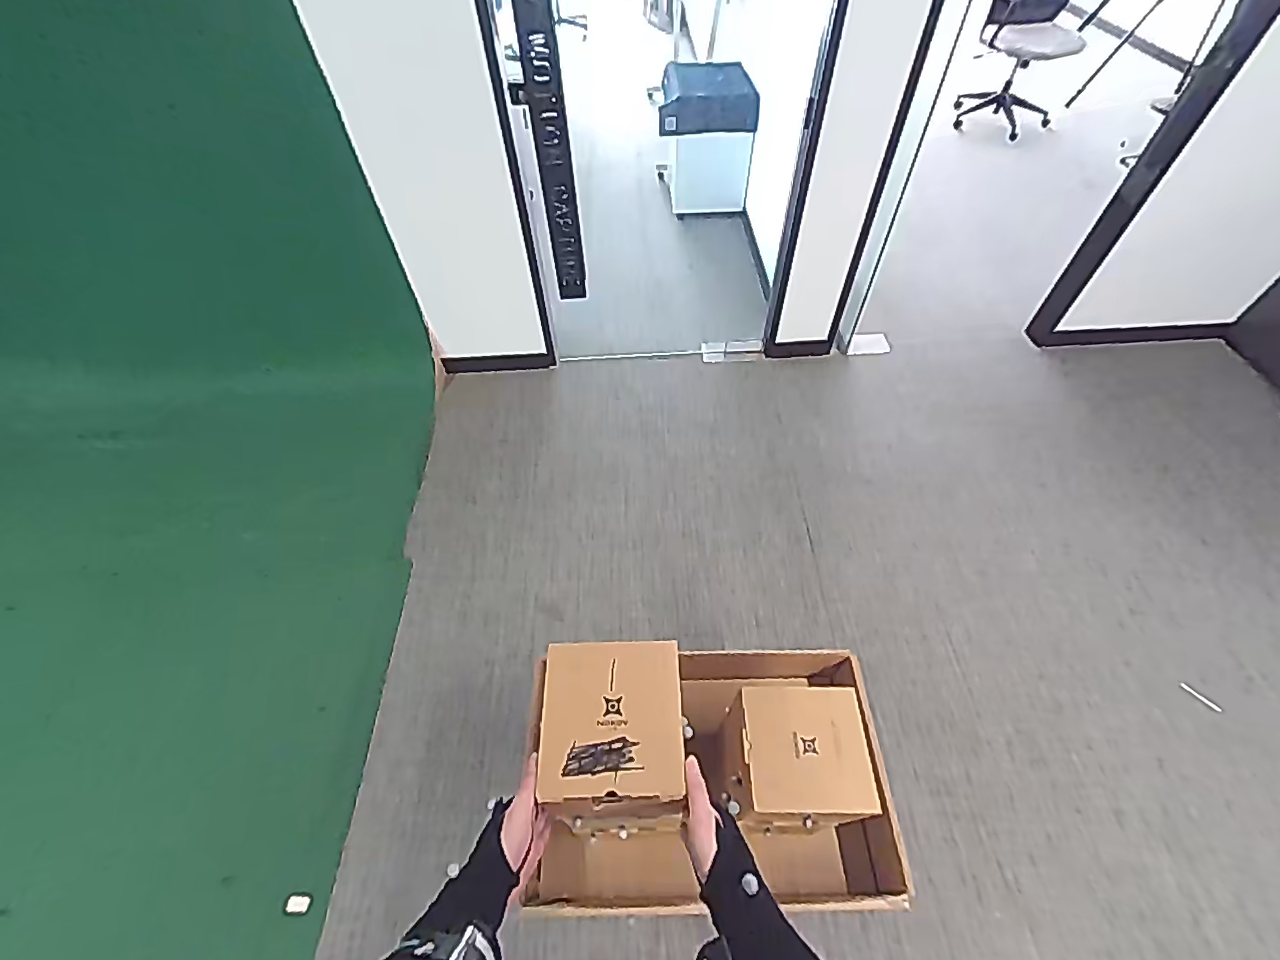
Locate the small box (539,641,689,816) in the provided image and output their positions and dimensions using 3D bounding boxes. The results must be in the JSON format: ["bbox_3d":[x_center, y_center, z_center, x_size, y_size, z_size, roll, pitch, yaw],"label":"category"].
[{"bbox_3d":[-0.027,0.320,0.687,0.168,0.176,0.179,-1,52,-1],"label":"small box"}]

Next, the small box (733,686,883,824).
[{"bbox_3d":[0.240,0.425,0.829,0.179,0.176,0.168,1,54,0],"label":"small box"}]

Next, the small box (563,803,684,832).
[{"bbox_3d":[-0.022,0.427,0.828,0.168,0.176,0.179,-1,53,0],"label":"small box"}]
